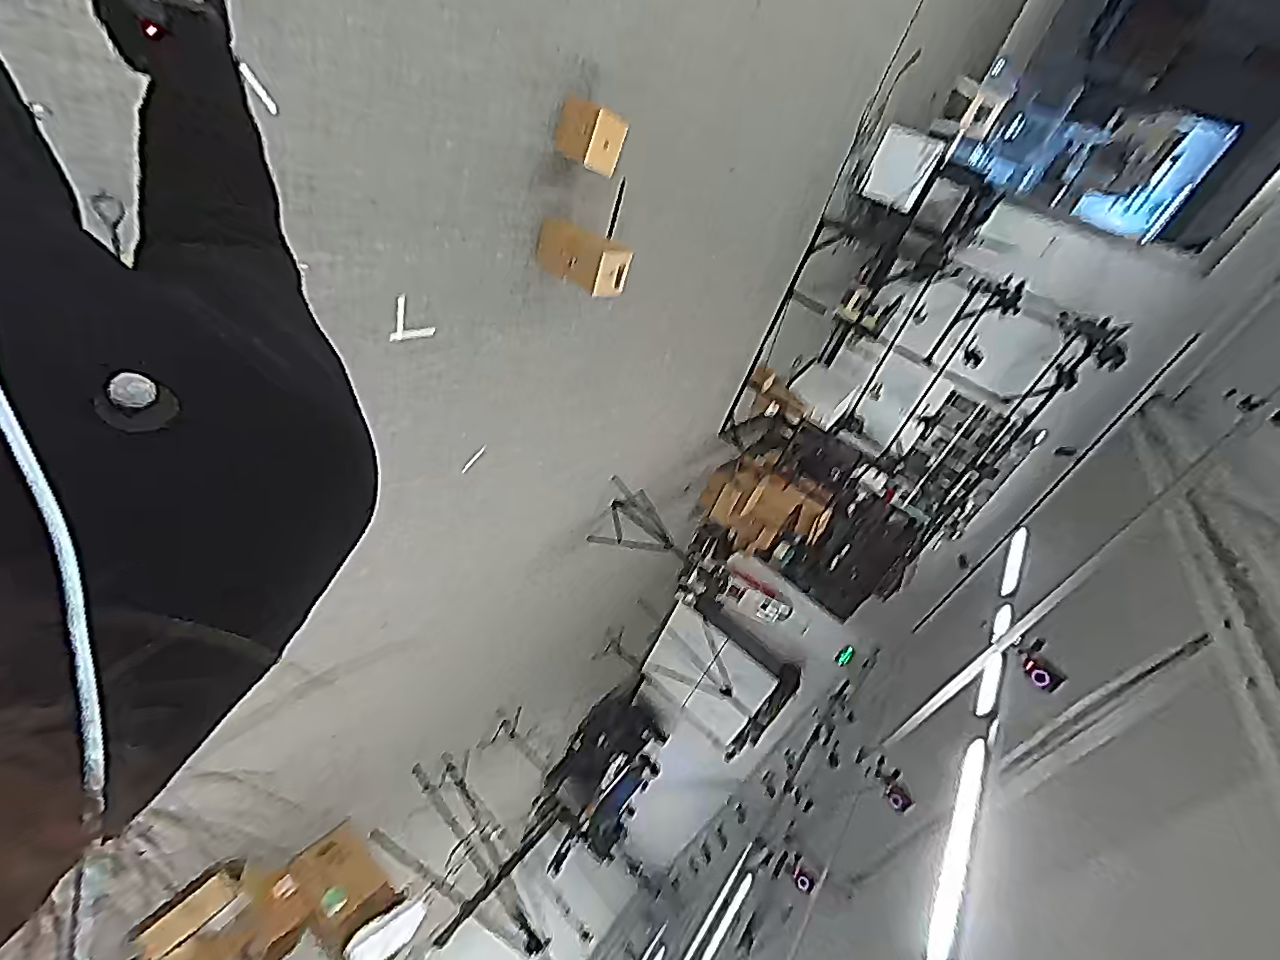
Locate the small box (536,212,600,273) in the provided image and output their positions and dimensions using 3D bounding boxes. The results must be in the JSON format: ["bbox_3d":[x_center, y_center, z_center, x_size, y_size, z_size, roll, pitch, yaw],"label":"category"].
[{"bbox_3d":[-0.290,-0.944,2.147,0.168,0.176,0.179,-27,148,-47],"label":"small box"}]

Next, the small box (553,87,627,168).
[{"bbox_3d":[-0.181,-1.243,1.911,0.168,0.176,0.179,-19,140,-54],"label":"small box"}]
